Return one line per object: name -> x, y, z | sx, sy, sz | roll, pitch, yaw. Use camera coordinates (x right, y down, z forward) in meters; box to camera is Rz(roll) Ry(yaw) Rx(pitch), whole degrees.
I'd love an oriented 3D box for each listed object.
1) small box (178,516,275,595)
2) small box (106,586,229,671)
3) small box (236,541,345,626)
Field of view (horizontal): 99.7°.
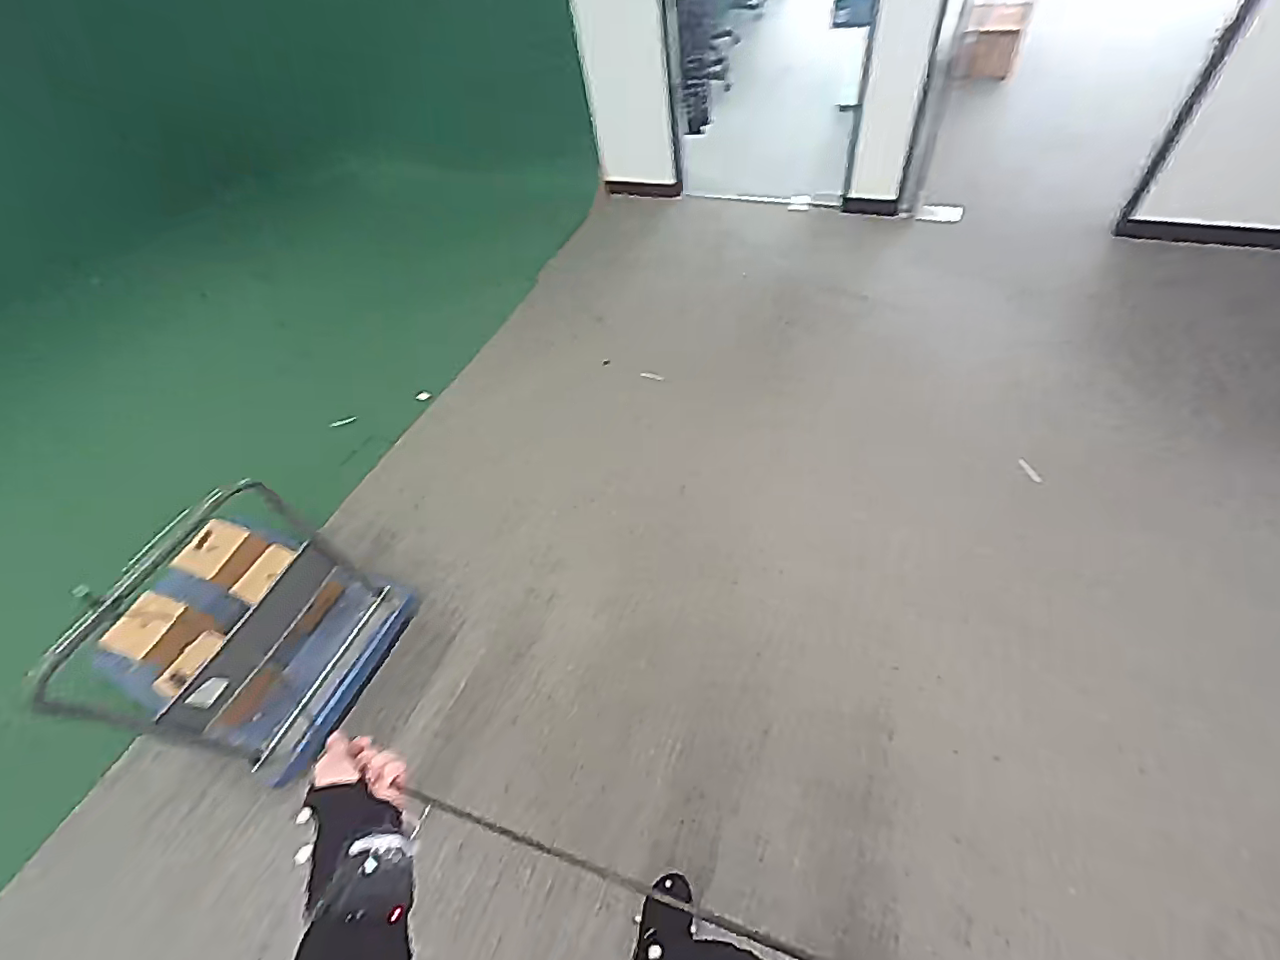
small box -> -1.277, 0.241, 1.705 | 0.179, 0.176, 0.168 | 14, 58, 17
small box -> -1.364, 0.439, 1.576 | 0.179, 0.176, 0.168 | 13, 57, 18
small box -> -1.034, 0.314, 1.613 | 0.179, 0.176, 0.168 | 18, 59, 20
